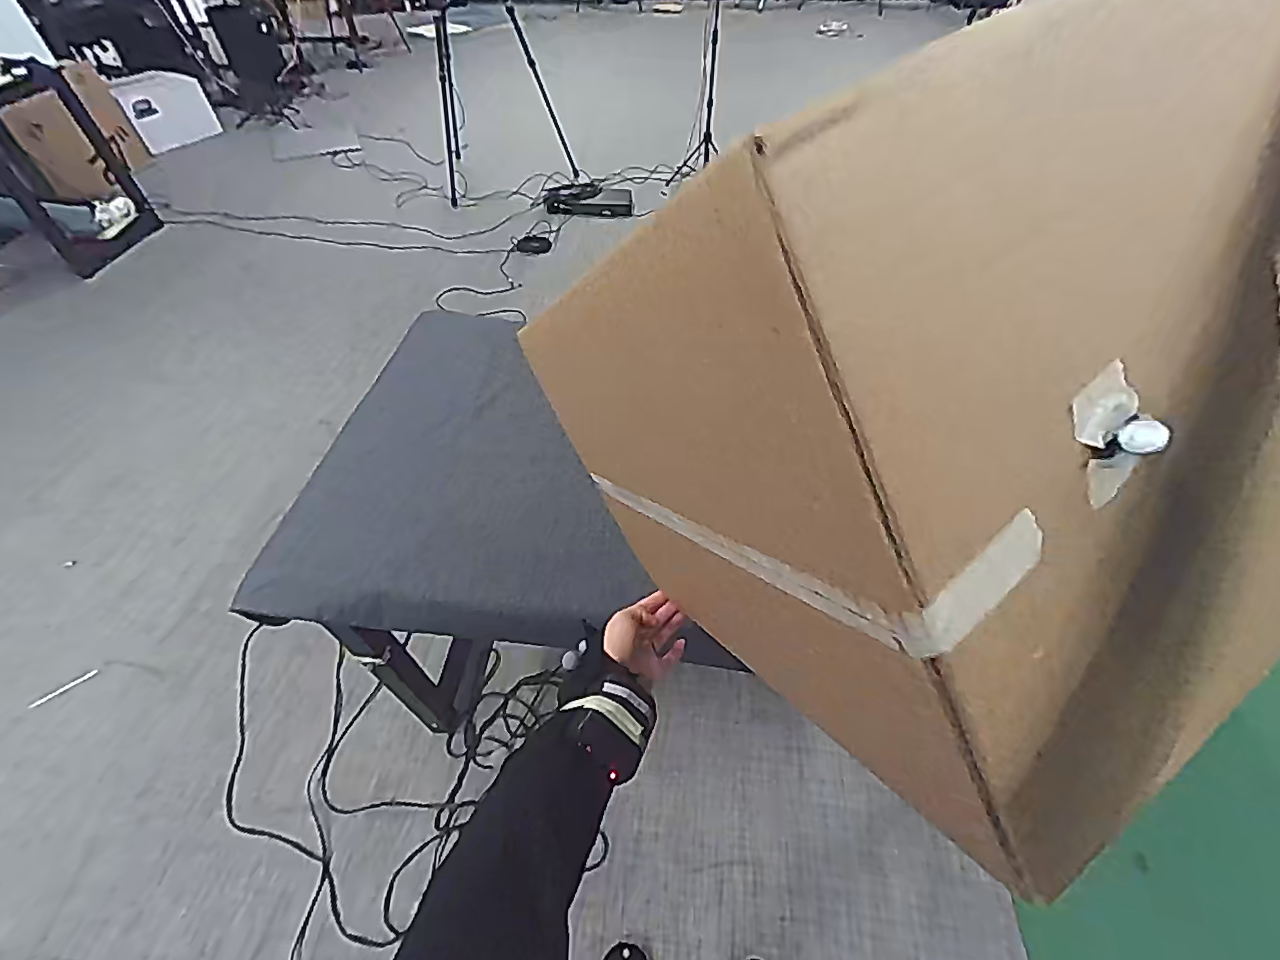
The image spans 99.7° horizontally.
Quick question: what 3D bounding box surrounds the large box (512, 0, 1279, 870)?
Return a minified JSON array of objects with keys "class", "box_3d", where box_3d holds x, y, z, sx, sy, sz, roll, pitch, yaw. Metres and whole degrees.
[{"class":"large box","box_3d":[0.144,-0.055,0.401,0.320,0.320,0.408,-33,19,-15]}]
